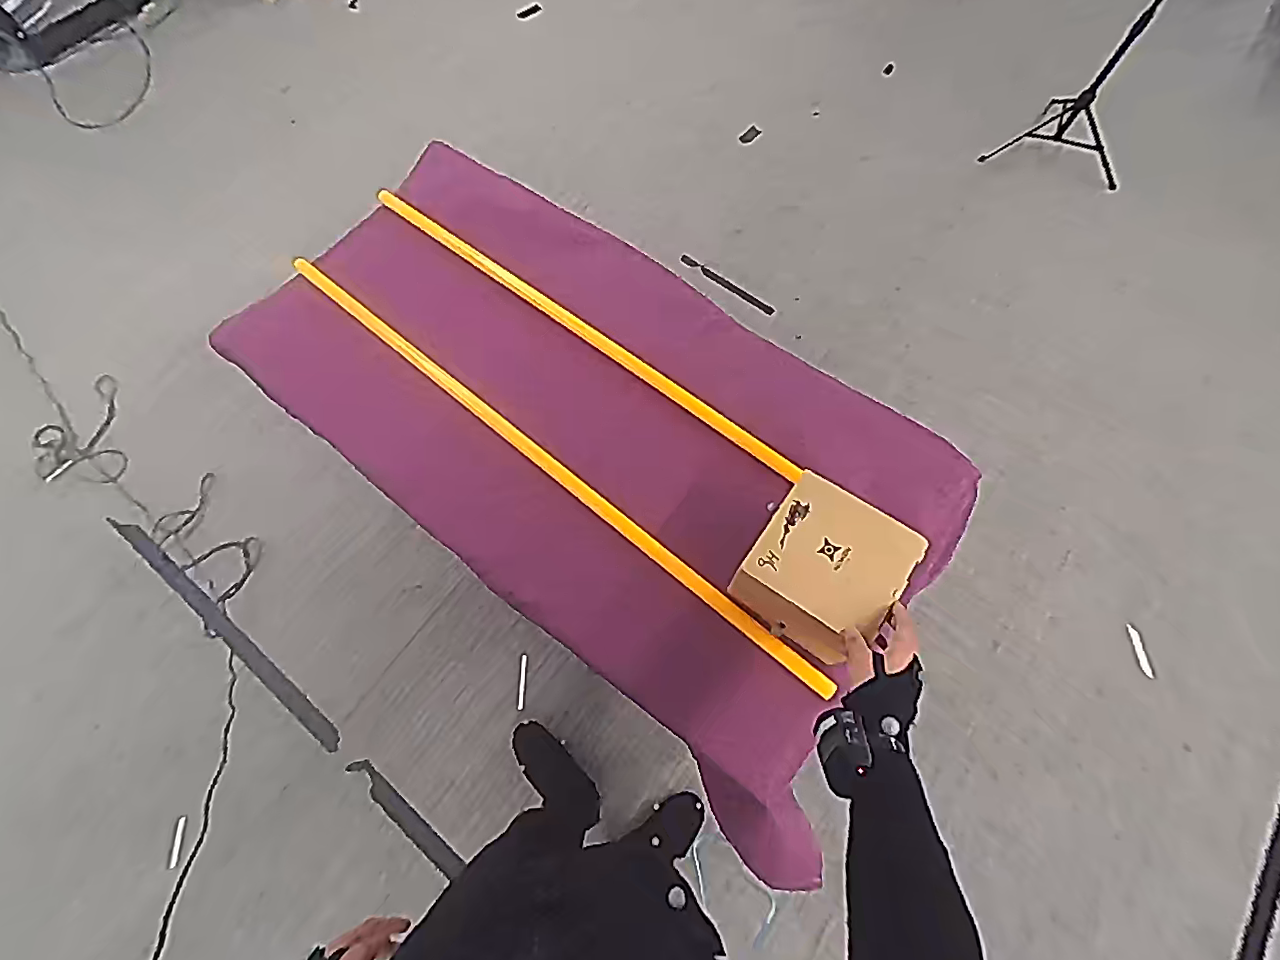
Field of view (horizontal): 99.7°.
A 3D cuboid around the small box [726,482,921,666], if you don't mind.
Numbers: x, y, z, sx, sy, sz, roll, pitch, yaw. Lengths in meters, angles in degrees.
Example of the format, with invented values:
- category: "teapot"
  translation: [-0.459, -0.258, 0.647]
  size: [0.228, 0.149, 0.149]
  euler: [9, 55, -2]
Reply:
- category: "small box"
  translation: [0.238, 0.137, 0.746]
  size: [0.179, 0.176, 0.168]
  euler: [34, 73, 15]
